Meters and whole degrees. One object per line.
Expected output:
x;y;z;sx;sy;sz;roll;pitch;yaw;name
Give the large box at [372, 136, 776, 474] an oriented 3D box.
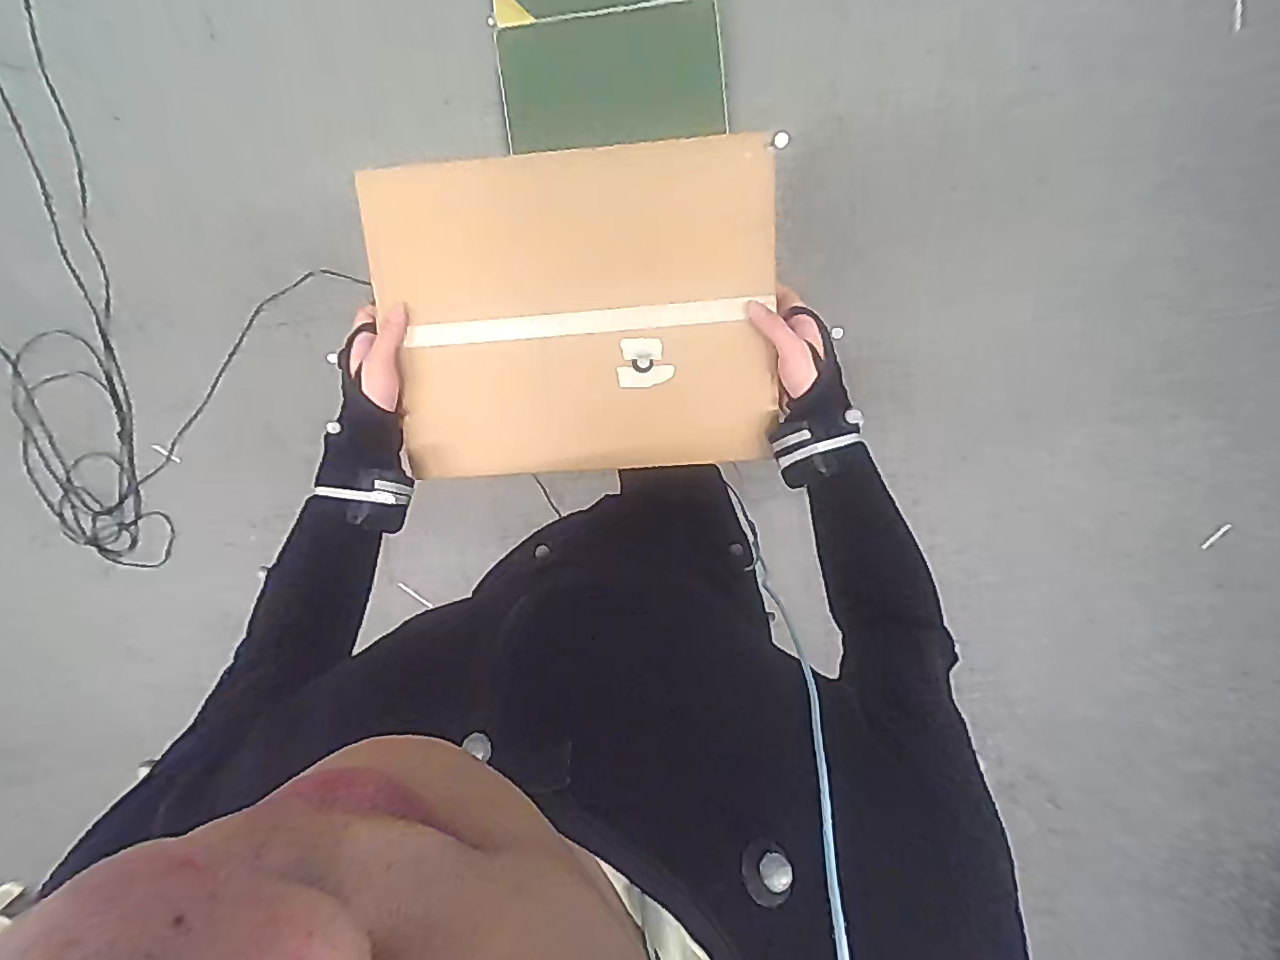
-0.057;-0.205;0.710;0.408;0.320;0.320;-4;105;3;large box
